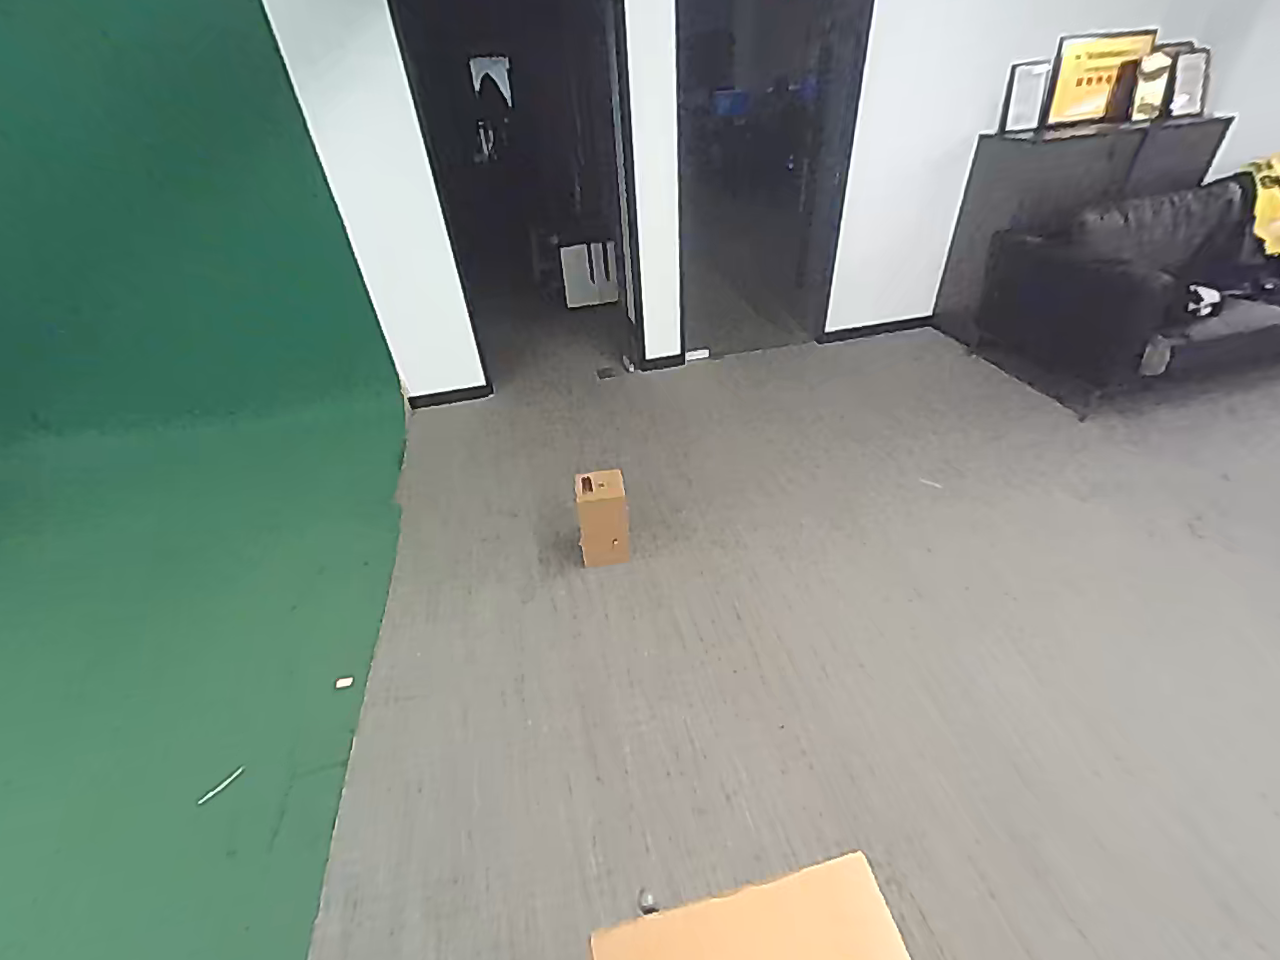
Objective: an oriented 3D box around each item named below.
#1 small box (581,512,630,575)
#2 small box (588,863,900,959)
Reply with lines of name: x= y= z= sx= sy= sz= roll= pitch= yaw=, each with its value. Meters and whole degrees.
small box: x=-0.130 y=0.248 z=2.093 sx=0.179 sy=0.176 sz=0.168 roll=-7 pitch=37 yaw=-3
small box: x=0.069 y=0.361 z=0.326 sx=0.179 sy=0.176 sz=0.168 roll=-10 pitch=47 yaw=-10
